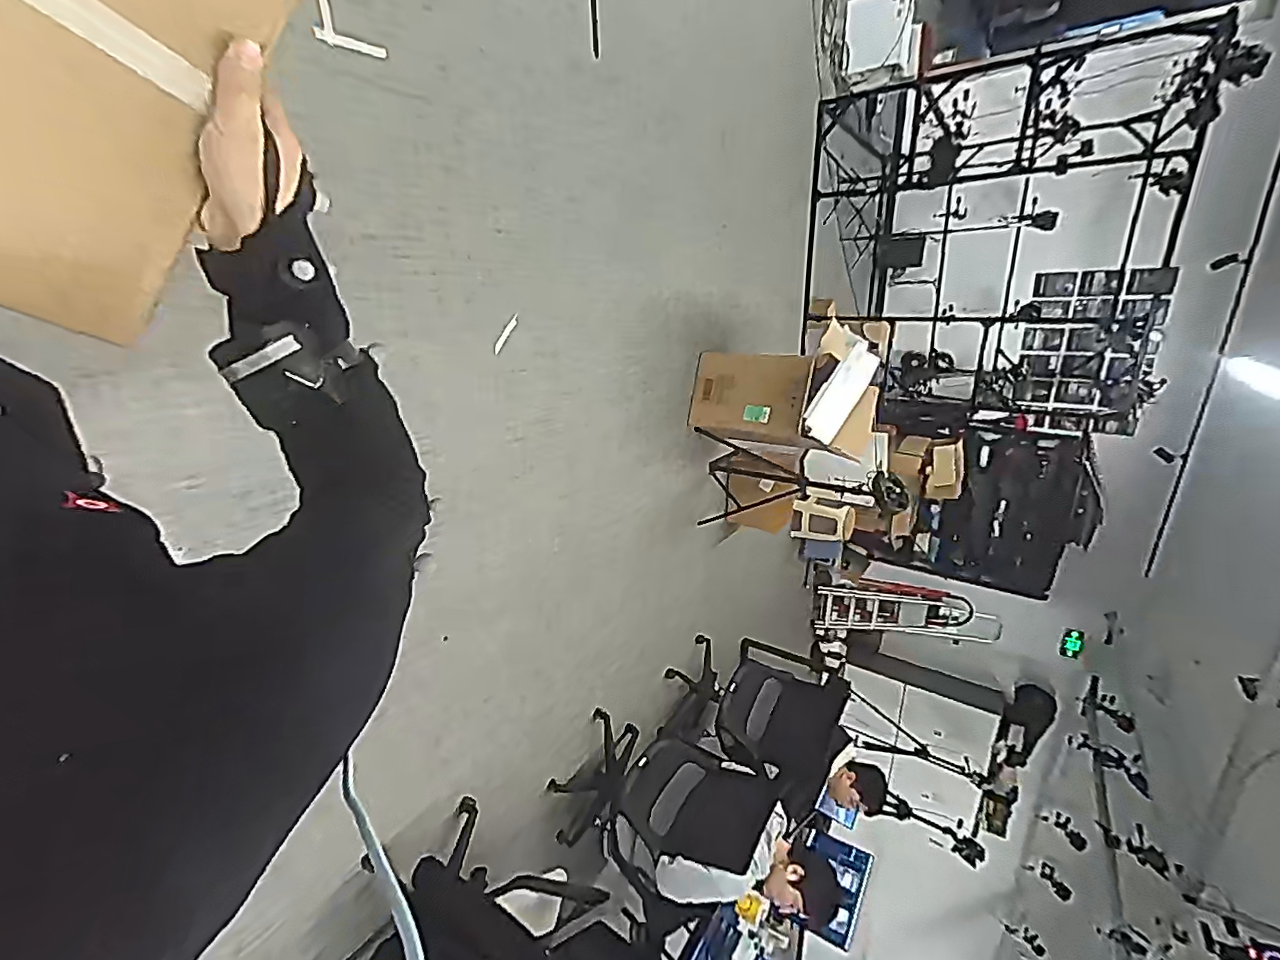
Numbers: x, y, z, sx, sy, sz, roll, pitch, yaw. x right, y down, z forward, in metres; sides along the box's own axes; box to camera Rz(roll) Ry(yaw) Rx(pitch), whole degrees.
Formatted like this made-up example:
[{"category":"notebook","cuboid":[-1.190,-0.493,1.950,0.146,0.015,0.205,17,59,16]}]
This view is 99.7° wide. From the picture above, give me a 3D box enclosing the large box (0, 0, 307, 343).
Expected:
[{"category":"large box","cuboid":[-0.472,-0.317,0.298,0.408,0.320,0.320,23,92,-47]}]
